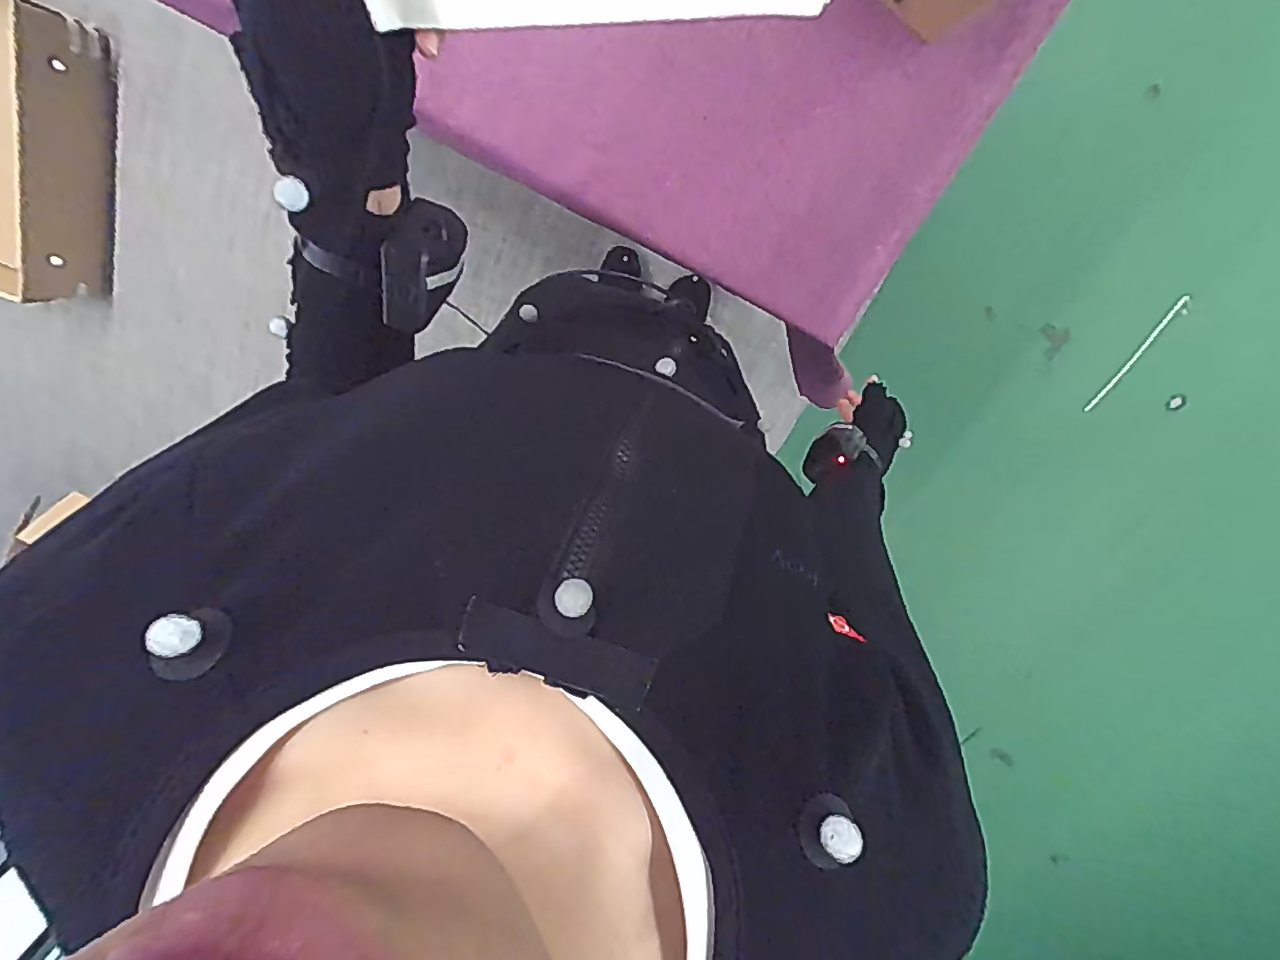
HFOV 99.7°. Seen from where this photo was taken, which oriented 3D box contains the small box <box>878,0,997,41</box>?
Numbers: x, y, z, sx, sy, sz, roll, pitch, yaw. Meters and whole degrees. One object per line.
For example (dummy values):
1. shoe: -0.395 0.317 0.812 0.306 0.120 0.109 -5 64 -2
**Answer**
1. small box: 0.269 -0.506 0.420 0.168 0.176 0.179 32 111 -10
